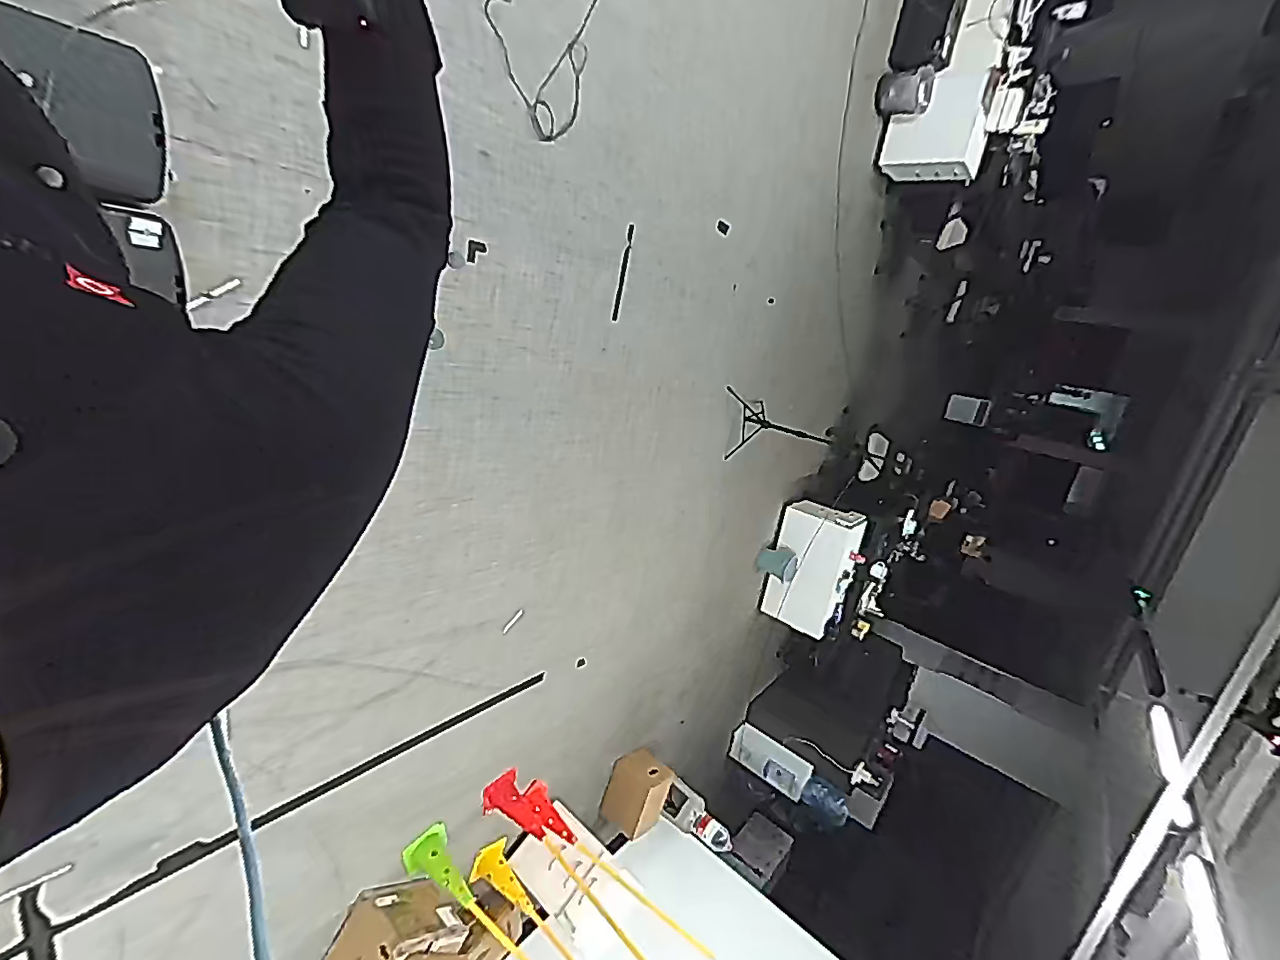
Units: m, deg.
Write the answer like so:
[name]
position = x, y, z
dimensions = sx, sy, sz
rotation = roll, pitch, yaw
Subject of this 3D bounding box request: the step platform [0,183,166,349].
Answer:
[step platform]
position = -1.252, -0.381, 0.911
dimensions = 0.684, 0.204, 0.286
rotation = -12, 117, -48
